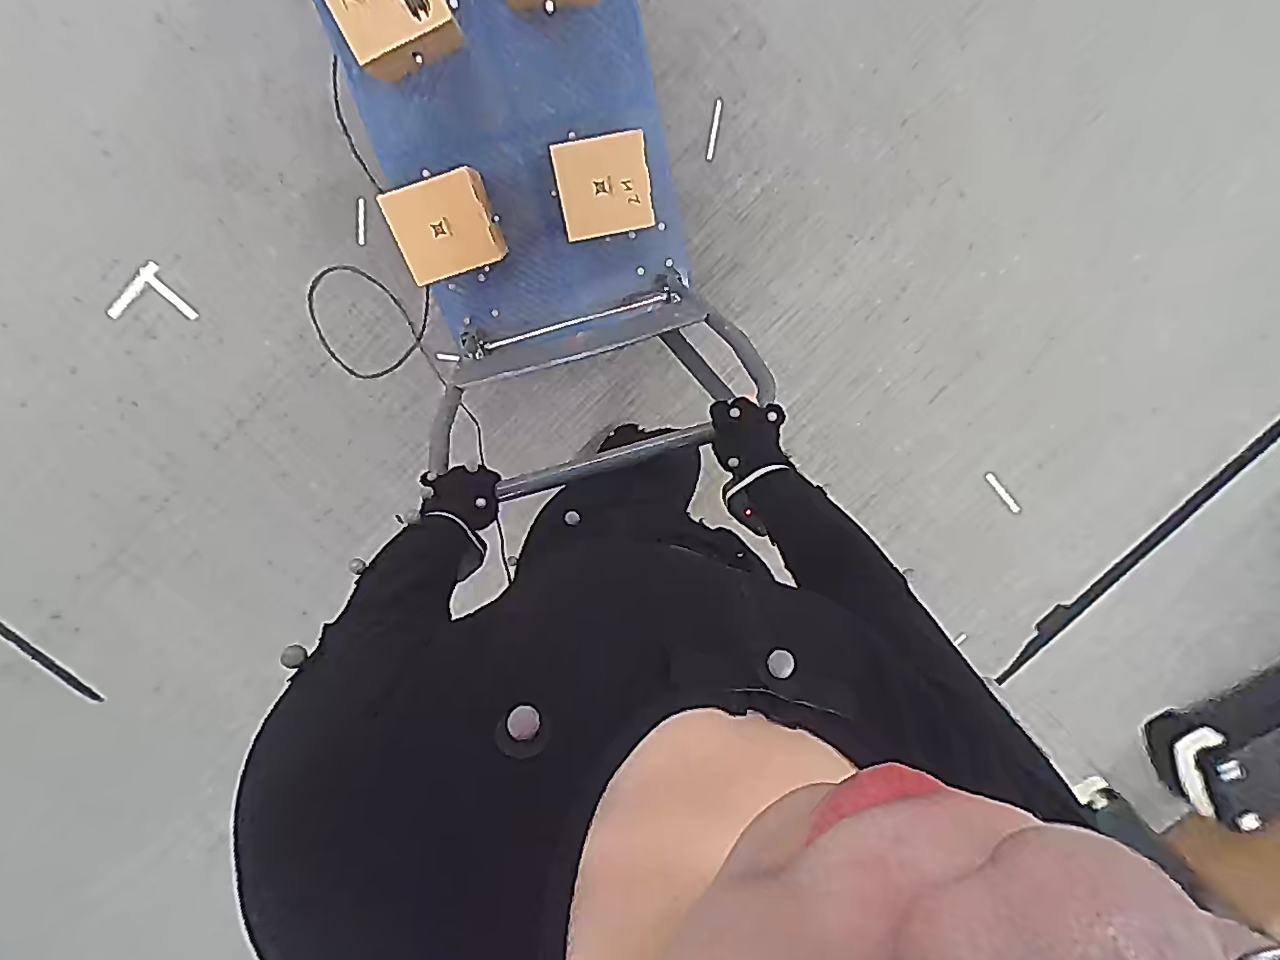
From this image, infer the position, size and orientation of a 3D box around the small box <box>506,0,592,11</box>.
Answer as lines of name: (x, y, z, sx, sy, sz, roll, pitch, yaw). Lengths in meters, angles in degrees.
small box: (-0.164, -0.923, 0.904, 0.168, 0.176, 0.179, -7, 119, -6)

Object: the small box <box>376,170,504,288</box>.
small box: (-0.387, -0.500, 1.083, 0.179, 0.176, 0.168, -20, 118, -1)

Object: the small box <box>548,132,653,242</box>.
small box: (-0.080, -0.584, 1.089, 0.179, 0.176, 0.168, -12, 118, -3)
